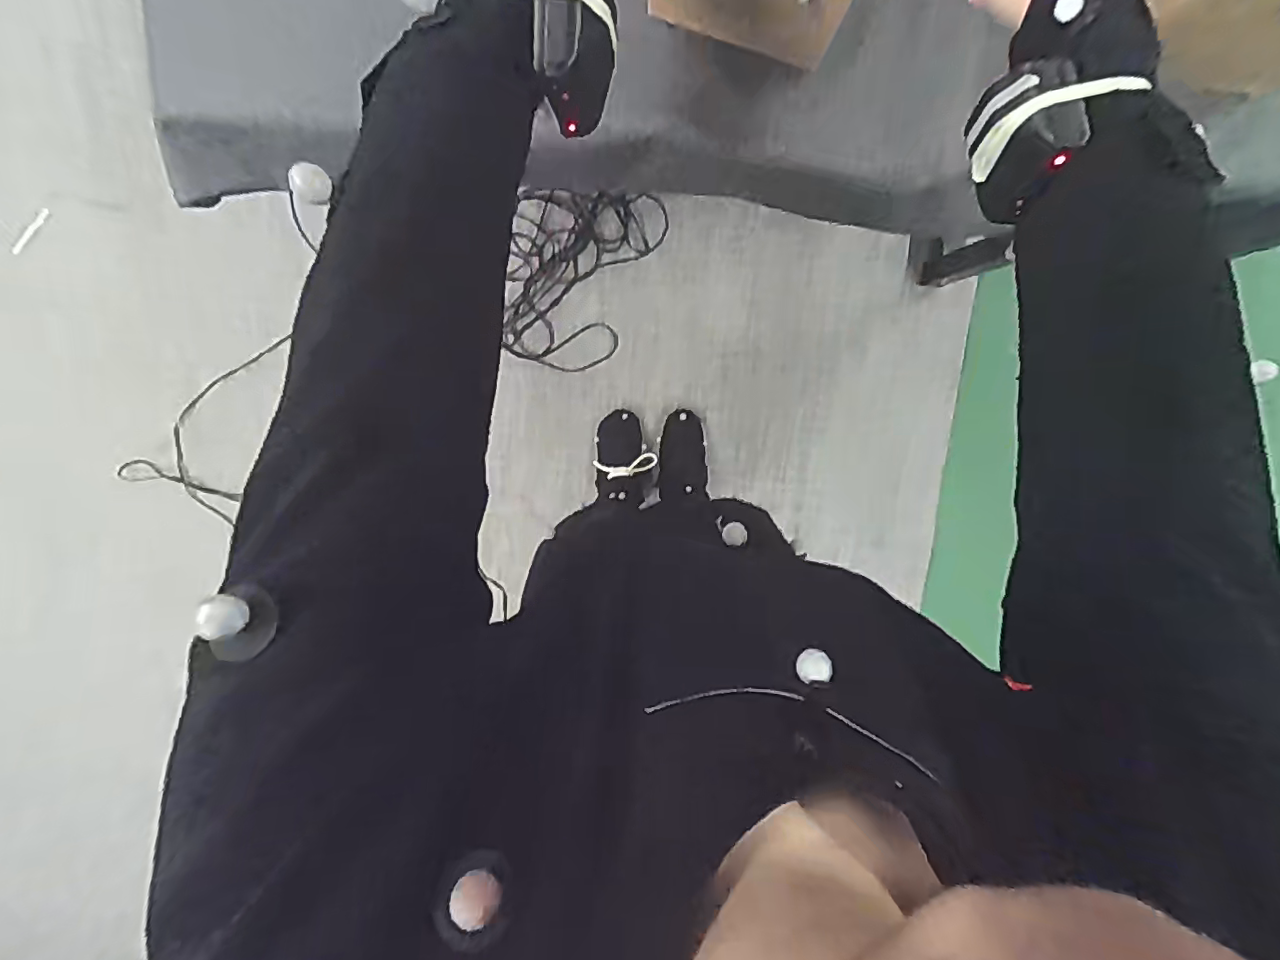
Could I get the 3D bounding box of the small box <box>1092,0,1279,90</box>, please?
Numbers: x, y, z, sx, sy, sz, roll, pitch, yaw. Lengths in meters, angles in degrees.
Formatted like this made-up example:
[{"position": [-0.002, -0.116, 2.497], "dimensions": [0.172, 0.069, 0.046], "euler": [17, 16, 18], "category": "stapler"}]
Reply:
[{"position": [0.534, -0.458, 0.442], "dimensions": [0.179, 0.176, 0.168], "euler": [9, 102, -2], "category": "small box"}]
